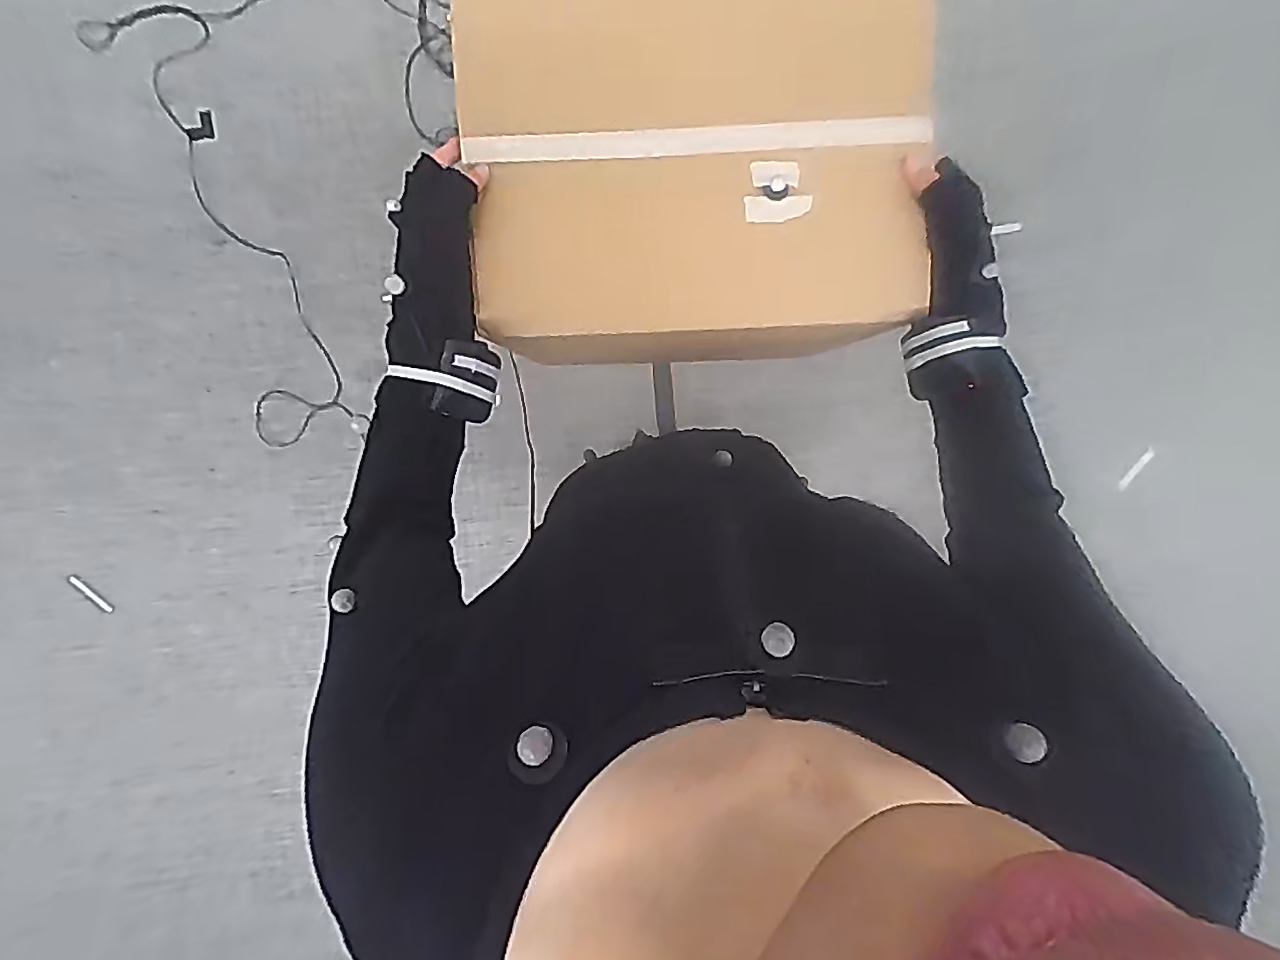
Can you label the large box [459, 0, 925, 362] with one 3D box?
[{"bbox_3d":[0.047,-0.316,0.622,0.408,0.320,0.320,-2,97,0],"label":"large box"}]
